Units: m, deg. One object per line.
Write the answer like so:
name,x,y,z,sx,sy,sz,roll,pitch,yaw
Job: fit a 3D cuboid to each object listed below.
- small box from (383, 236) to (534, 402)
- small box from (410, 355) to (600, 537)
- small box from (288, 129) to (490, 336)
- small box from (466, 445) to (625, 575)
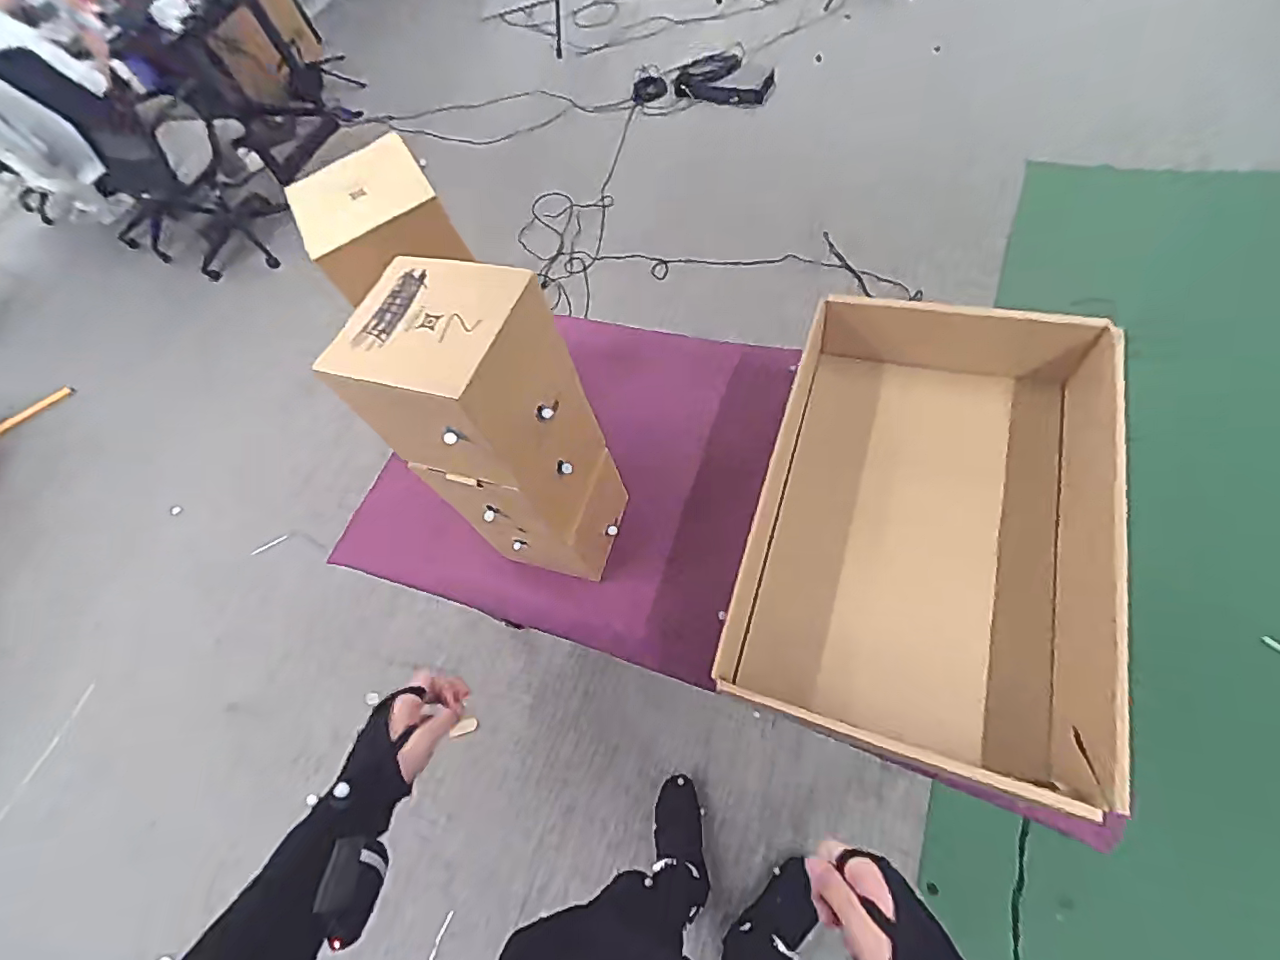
small box,-0.300,-0.249,0.879,0.179,0.176,0.168,-29,62,-5
small box,-0.168,-0.041,0.741,0.168,0.176,0.179,13,65,17
small box,-0.332,-0.324,0.739,0.168,0.176,0.179,-31,62,-5
small box,-0.141,0.040,0.880,0.179,0.176,0.168,12,65,17
